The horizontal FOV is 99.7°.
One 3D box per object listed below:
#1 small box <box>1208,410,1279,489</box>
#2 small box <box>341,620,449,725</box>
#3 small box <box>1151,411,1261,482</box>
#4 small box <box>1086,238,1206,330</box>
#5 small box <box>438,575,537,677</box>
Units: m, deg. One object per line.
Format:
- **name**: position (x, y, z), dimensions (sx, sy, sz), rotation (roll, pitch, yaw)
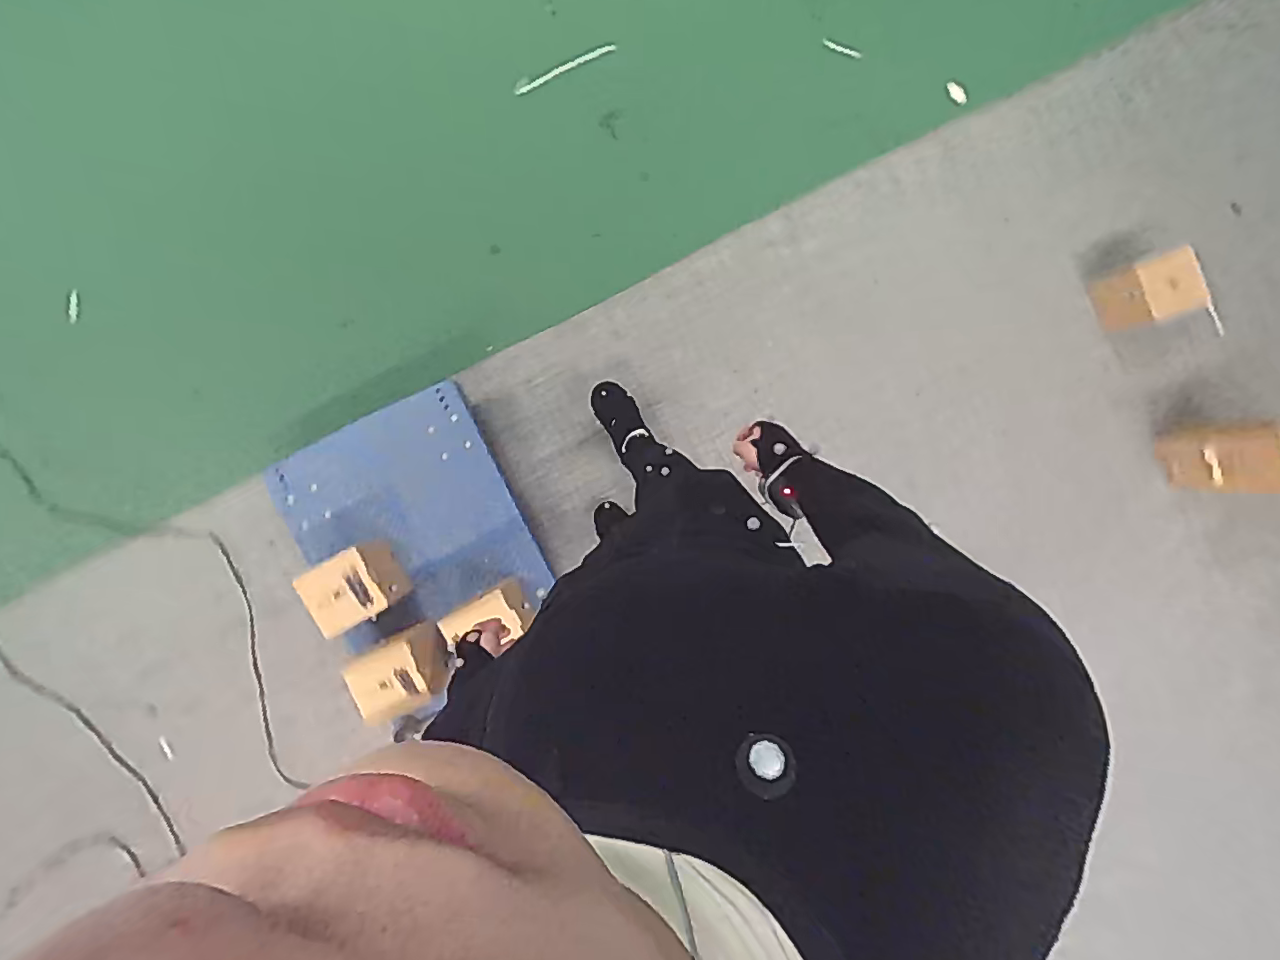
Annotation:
- **small box**: position (1.674, -0.085, 1.417), dimensions (0.179, 0.176, 0.168), rotation (-21, 93, 1)
- **small box**: position (-0.612, 0.481, 1.380), dimensions (0.179, 0.176, 0.168), rotation (-24, 92, 1)
- **small box**: position (1.666, -0.096, 1.577), dimensions (0.179, 0.176, 0.168), rotation (-15, 90, 1)
- **small box**: position (1.447, -0.558, 1.559), dimensions (0.168, 0.176, 0.179), rotation (-22, 93, 1)
- **small box**: position (-0.377, 0.363, 1.380), dimensions (0.179, 0.176, 0.168), rotation (-29, 92, 0)
